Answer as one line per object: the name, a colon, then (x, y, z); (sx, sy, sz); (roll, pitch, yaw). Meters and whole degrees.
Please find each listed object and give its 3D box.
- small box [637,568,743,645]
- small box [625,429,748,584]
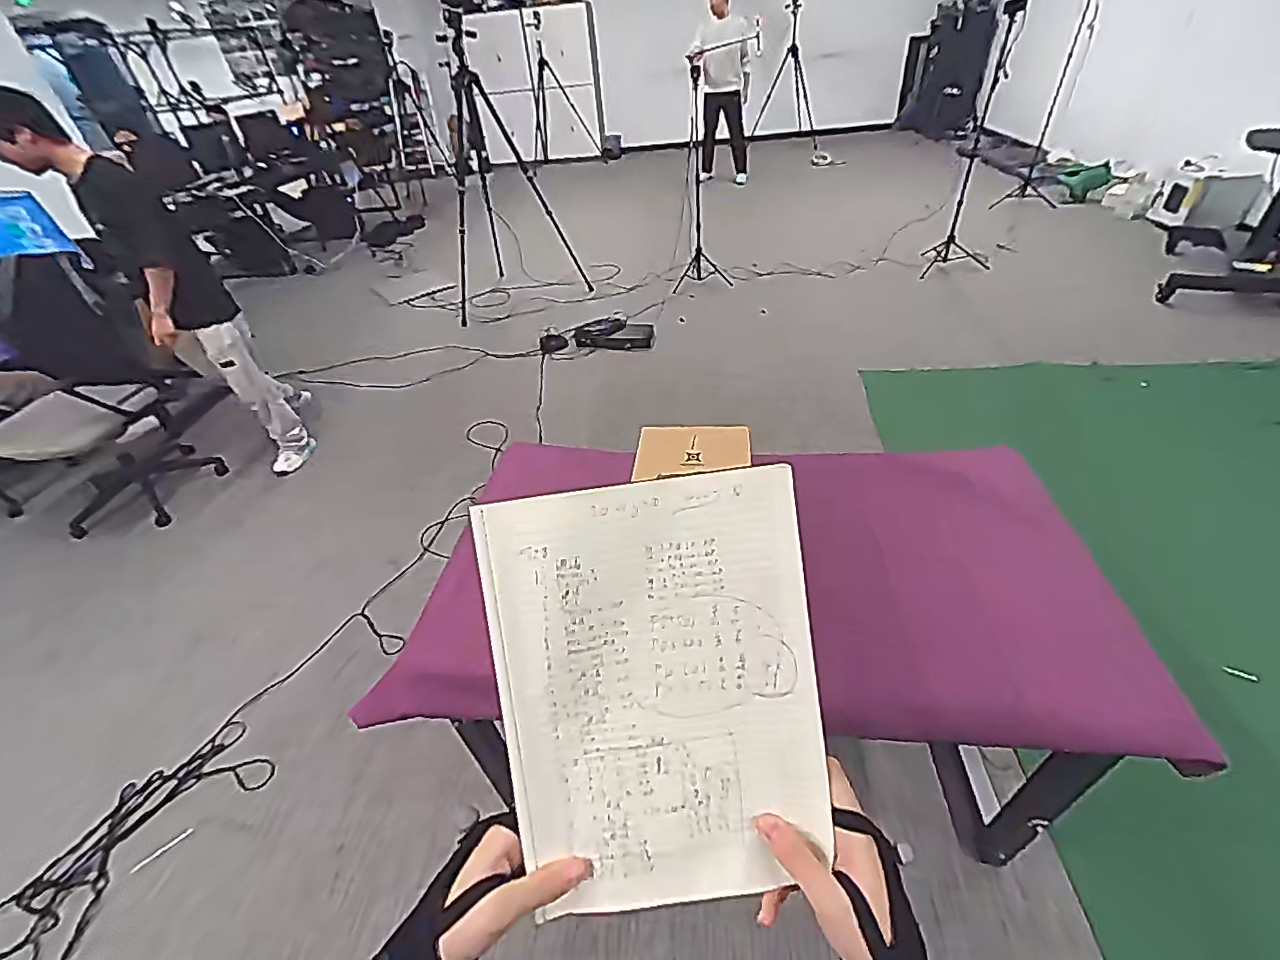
small box: (0.093, 0.163, 0.931); (0.168, 0.176, 0.179); (1, 41, 8)
small box: (0.079, 0.040, 0.822); (0.168, 0.176, 0.179); (1, 39, 9)
